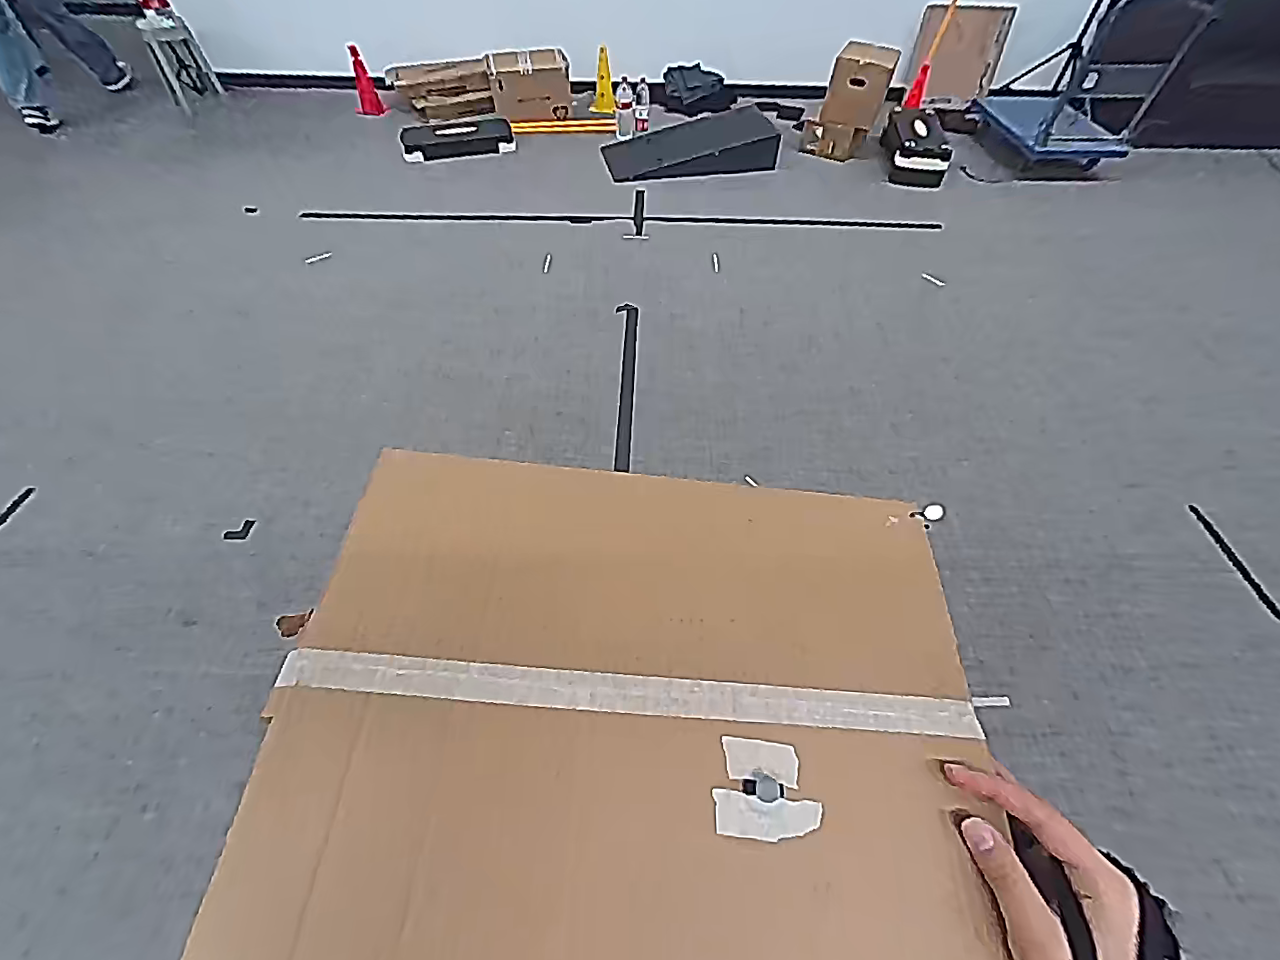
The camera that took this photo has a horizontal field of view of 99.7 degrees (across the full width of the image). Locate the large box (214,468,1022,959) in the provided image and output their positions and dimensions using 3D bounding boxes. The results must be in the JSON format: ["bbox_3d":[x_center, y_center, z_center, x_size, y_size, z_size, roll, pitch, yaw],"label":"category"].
[{"bbox_3d":[-0.011,0.216,0.453,0.408,0.320,0.320,6,57,-3],"label":"large box"}]
